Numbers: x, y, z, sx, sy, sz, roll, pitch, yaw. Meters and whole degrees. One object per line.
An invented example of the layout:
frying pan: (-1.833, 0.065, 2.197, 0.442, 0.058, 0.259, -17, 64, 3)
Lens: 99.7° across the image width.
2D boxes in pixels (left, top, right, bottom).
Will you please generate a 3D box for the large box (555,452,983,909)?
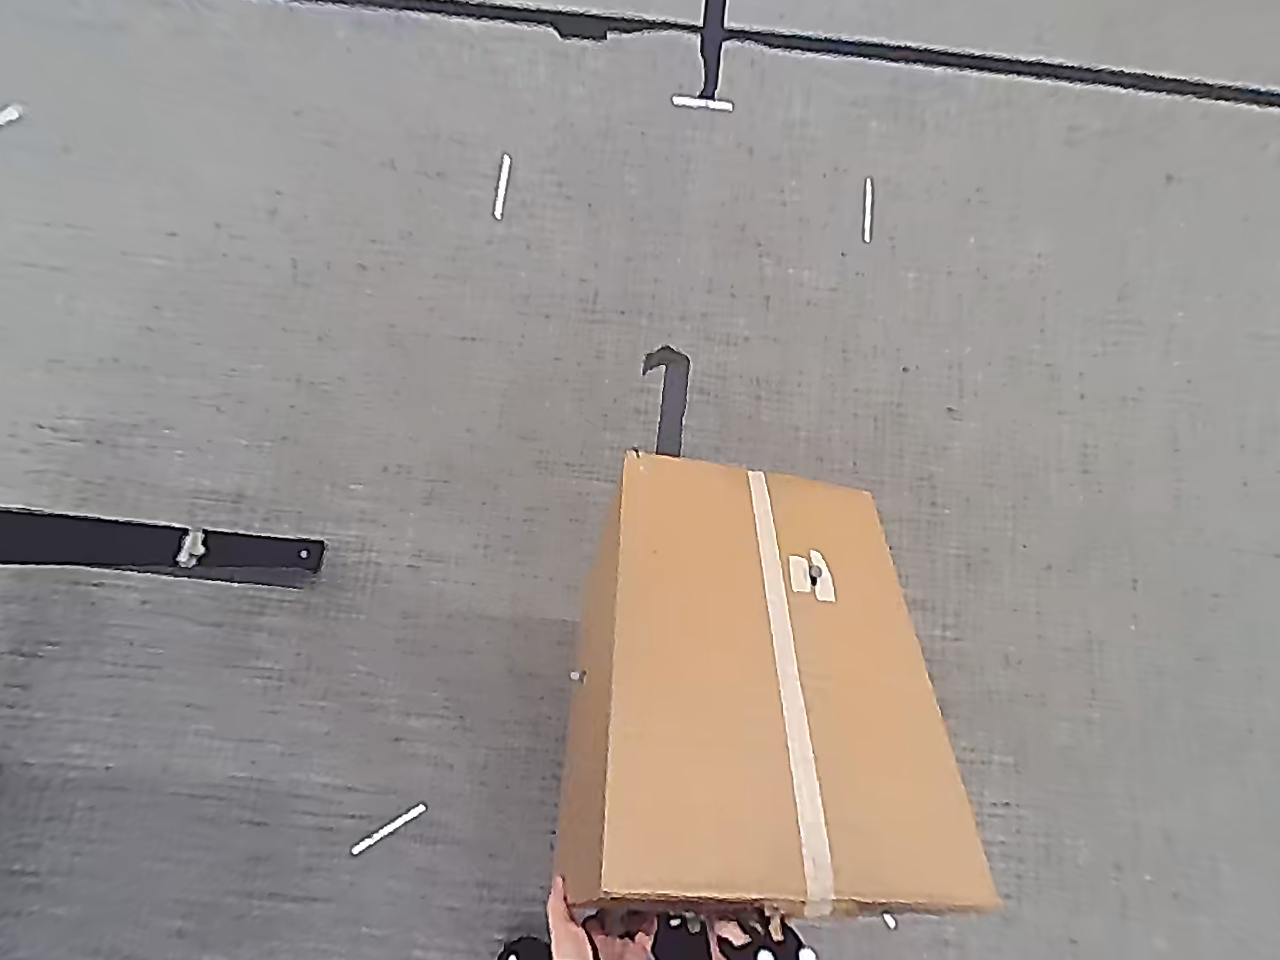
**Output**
large box: (0.085, 0.235, 0.627, 0.320, 0.320, 0.408, 10, 49, -11)
